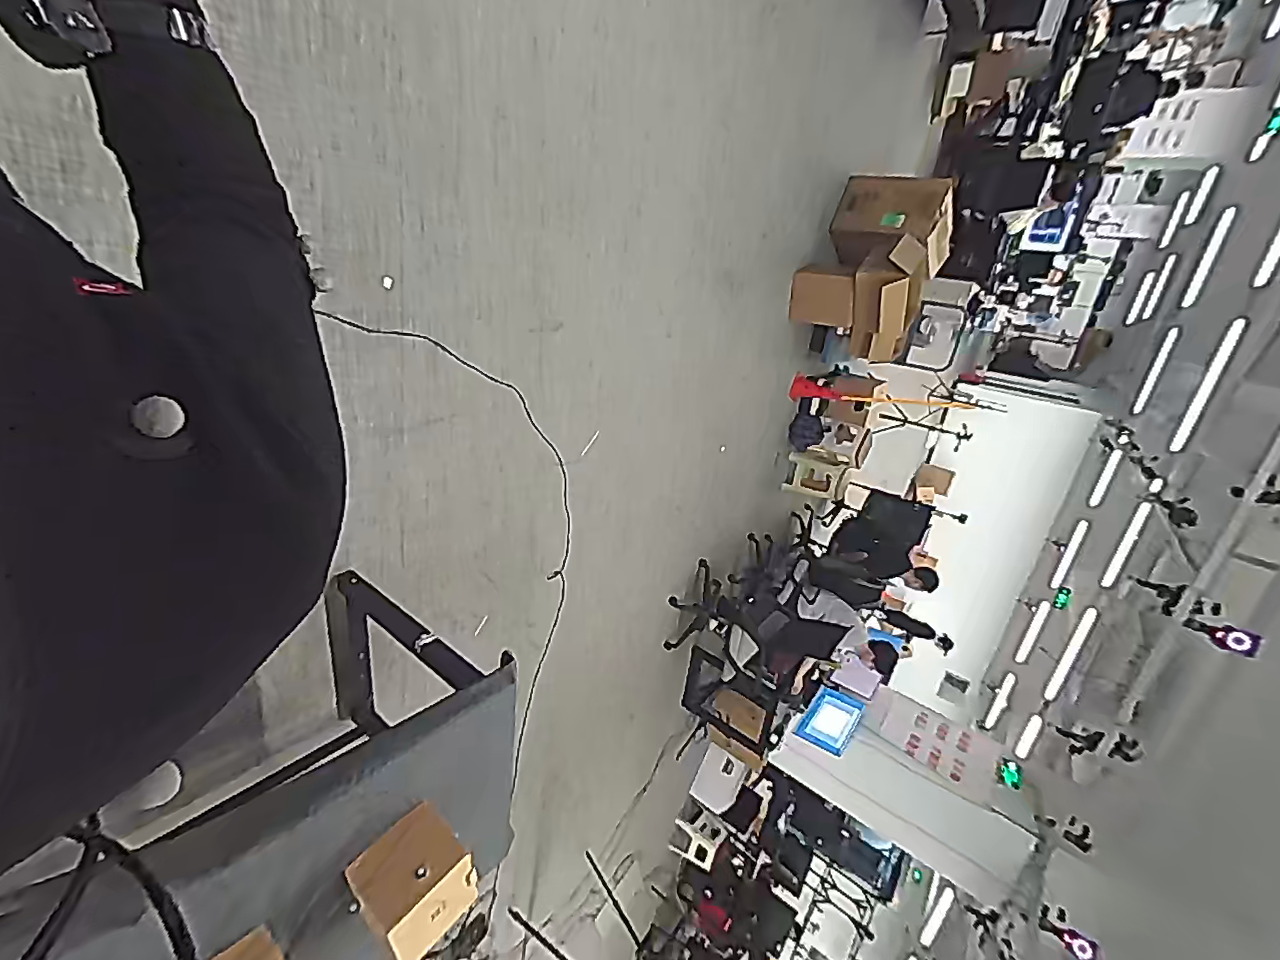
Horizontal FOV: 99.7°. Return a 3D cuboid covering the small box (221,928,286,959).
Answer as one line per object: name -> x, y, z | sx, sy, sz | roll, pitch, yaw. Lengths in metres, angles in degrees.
small box -> -0.645, 0.878, 0.851 | 0.179, 0.176, 0.168 | -17, 122, -51

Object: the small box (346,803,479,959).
small box -> -0.457, 0.810, 1.096 | 0.179, 0.176, 0.168 | -30, 130, -44
